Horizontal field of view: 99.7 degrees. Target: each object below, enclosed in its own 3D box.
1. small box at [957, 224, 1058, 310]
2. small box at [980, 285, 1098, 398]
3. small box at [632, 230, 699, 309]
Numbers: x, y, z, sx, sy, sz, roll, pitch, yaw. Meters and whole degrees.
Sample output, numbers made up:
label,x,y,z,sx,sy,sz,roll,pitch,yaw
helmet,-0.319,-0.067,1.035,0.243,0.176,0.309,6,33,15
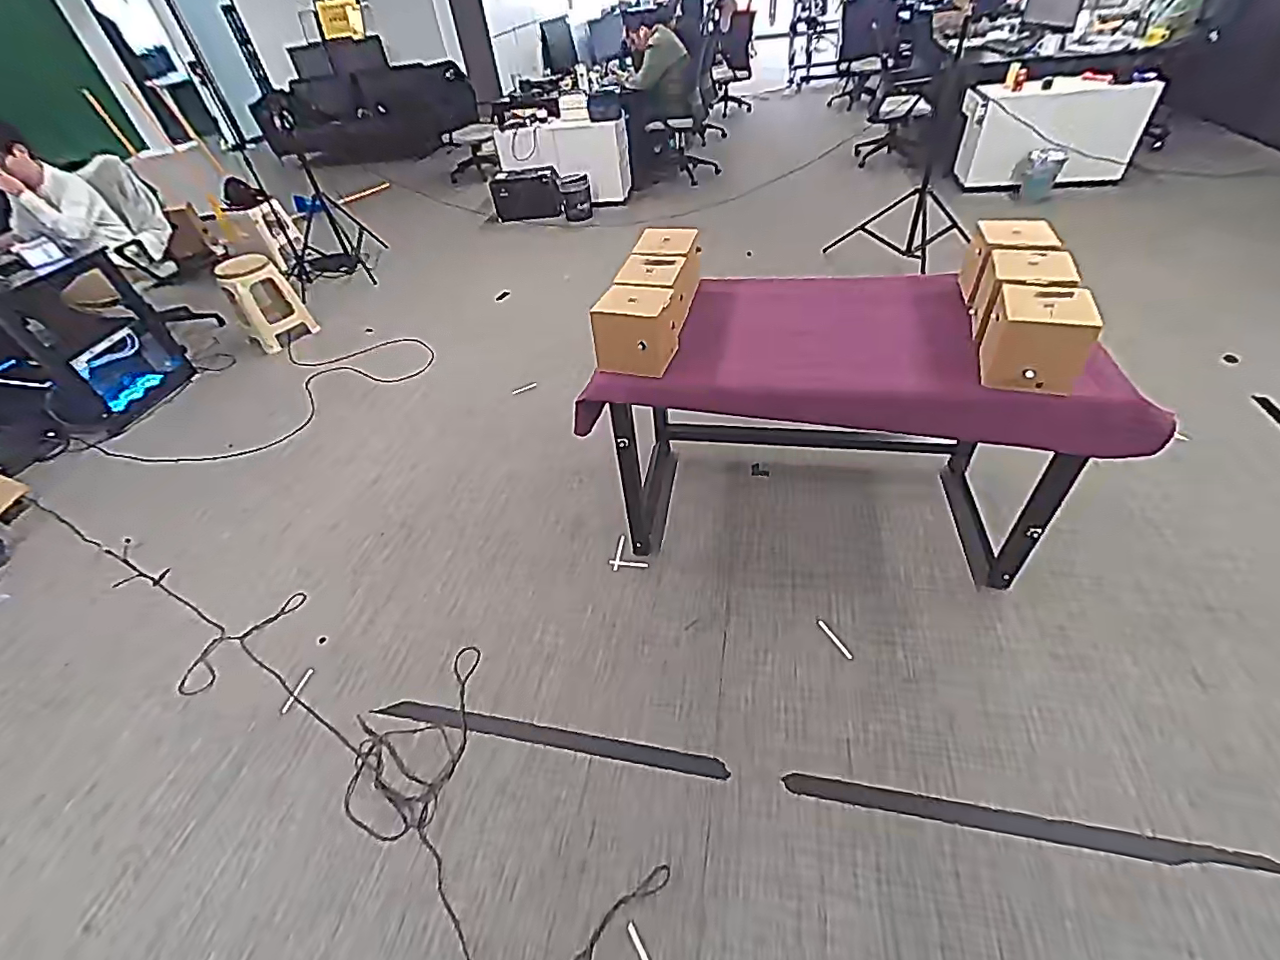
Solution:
label,x,y,z,sx,sy,sz,roll,pitch,yaw
small box,0.978,-0.573,1.459,0.168,0.176,0.179,7,45,14
small box,0.872,-0.309,1.198,0.168,0.176,0.179,11,50,22
small box,0.082,-0.642,1.646,0.168,0.176,0.179,7,47,15
